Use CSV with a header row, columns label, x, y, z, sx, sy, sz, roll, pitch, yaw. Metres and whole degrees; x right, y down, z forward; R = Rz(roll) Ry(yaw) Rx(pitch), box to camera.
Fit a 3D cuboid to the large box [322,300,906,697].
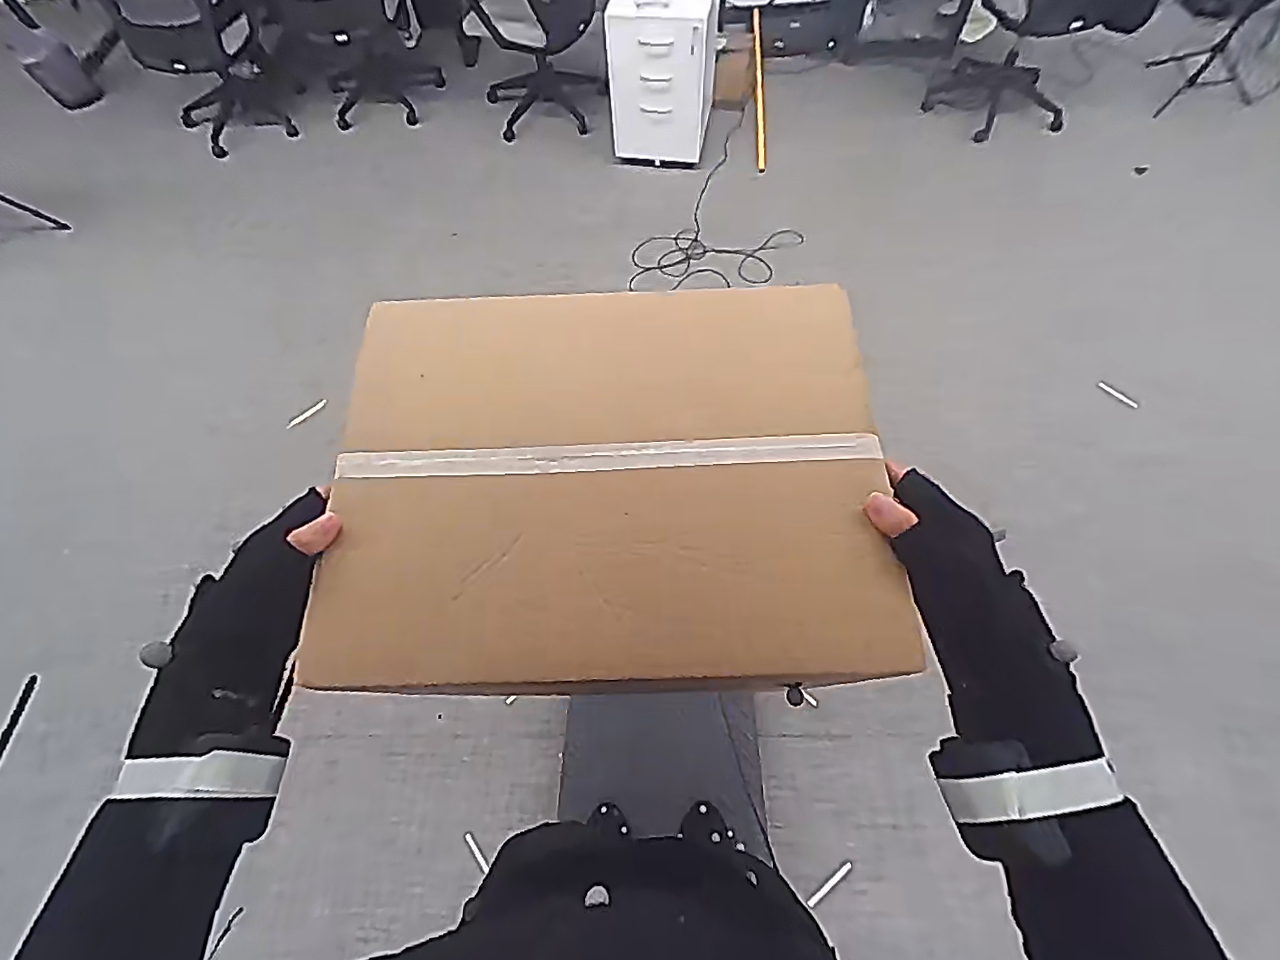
label,x,y,z,sx,sy,sz,roll,pitch,yaw
large box,-0.018,0.050,0.555,0.408,0.320,0.320,-2,67,2
